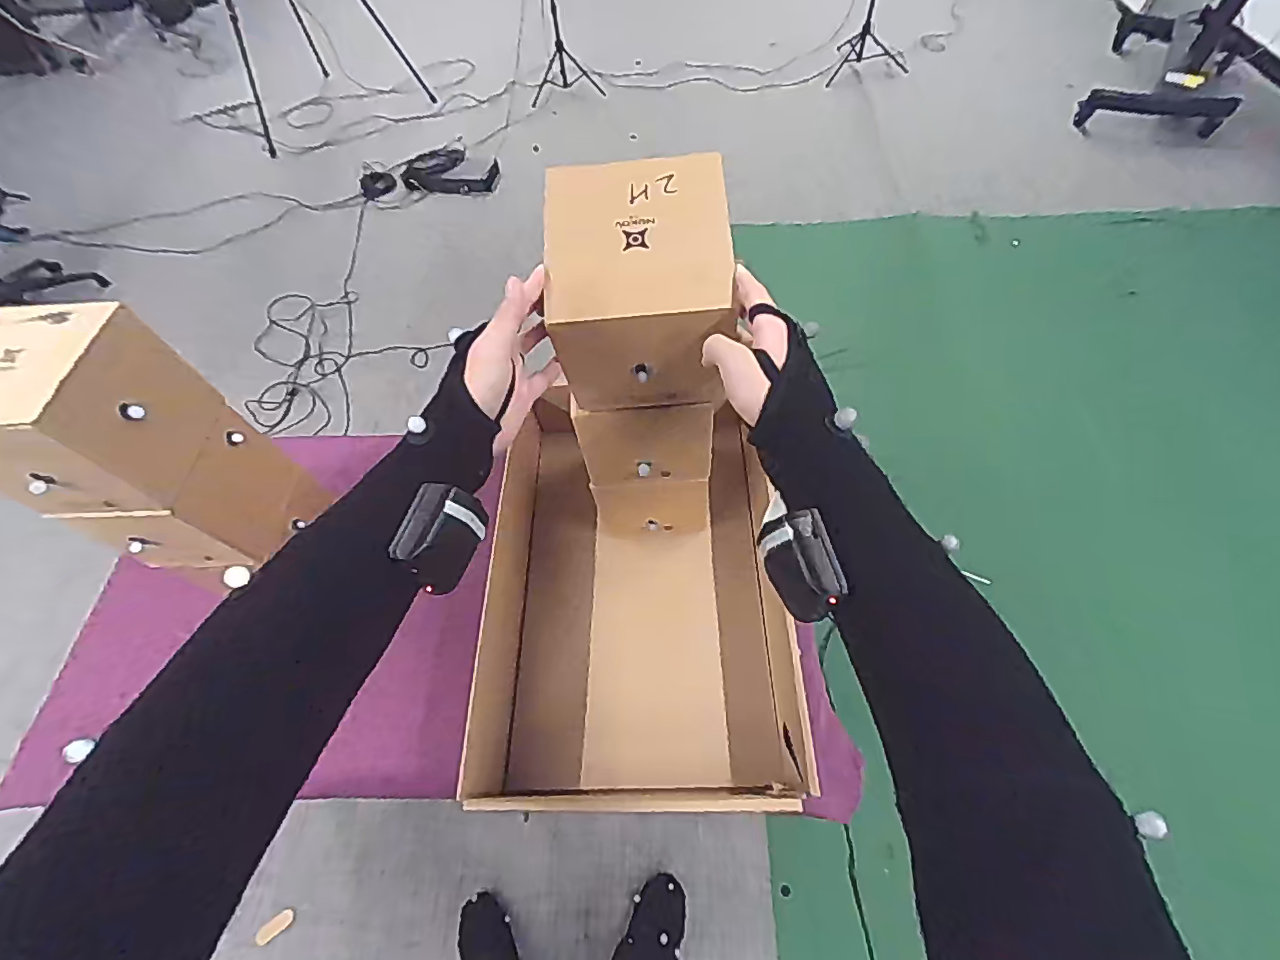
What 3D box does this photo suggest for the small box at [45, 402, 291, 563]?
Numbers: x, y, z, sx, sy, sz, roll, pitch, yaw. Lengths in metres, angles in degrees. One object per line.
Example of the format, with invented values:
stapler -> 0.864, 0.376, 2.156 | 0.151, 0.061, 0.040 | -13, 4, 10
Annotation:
small box -> -0.639, 0.011, 0.763 | 0.168, 0.176, 0.179 | -2, 59, 2

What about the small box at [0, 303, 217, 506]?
small box -> -0.647, -0.077, 0.625 | 0.168, 0.176, 0.179 | -2, 59, 2

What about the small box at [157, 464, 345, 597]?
small box -> -0.628, 0.091, 0.904 | 0.168, 0.176, 0.179 | -1, 59, 2

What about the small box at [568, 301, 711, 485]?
small box -> 0.003, -0.111, 0.723 | 0.168, 0.176, 0.179 | -4, 61, 4
